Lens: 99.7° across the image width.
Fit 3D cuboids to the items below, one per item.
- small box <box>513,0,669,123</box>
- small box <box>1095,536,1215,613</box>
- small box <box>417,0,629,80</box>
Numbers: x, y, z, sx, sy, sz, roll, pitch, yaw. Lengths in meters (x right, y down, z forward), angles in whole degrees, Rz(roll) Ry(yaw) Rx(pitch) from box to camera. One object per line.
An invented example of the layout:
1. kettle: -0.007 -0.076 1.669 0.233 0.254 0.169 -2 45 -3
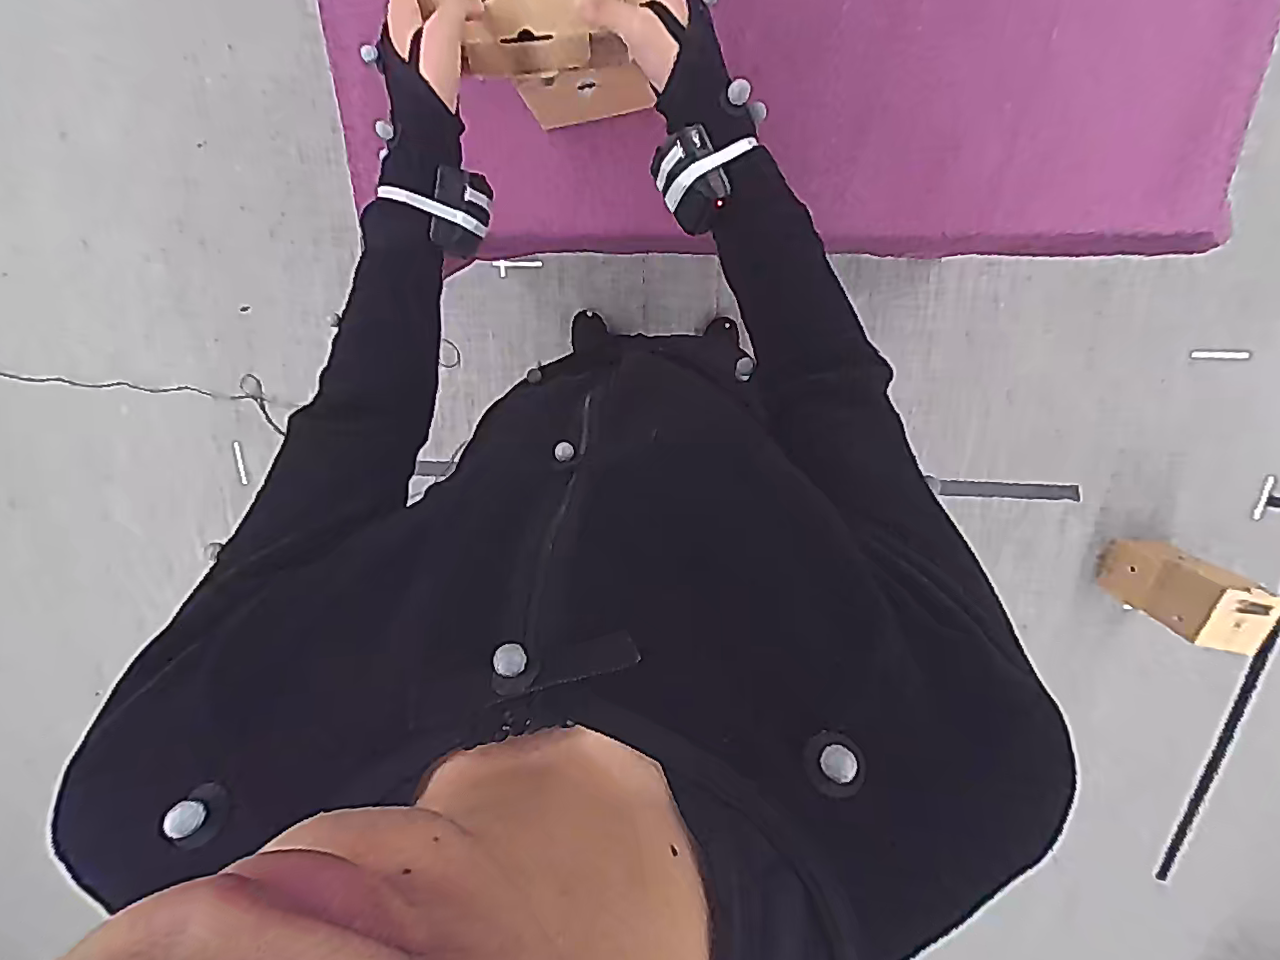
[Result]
1. small box: -0.063 -0.544 0.630 0.179 0.176 0.168 -9 109 4
2. small box: 1.538 0.279 1.629 0.179 0.176 0.168 5 109 0
3. small box: -0.098 -0.472 0.465 0.168 0.176 0.179 -3 119 2
